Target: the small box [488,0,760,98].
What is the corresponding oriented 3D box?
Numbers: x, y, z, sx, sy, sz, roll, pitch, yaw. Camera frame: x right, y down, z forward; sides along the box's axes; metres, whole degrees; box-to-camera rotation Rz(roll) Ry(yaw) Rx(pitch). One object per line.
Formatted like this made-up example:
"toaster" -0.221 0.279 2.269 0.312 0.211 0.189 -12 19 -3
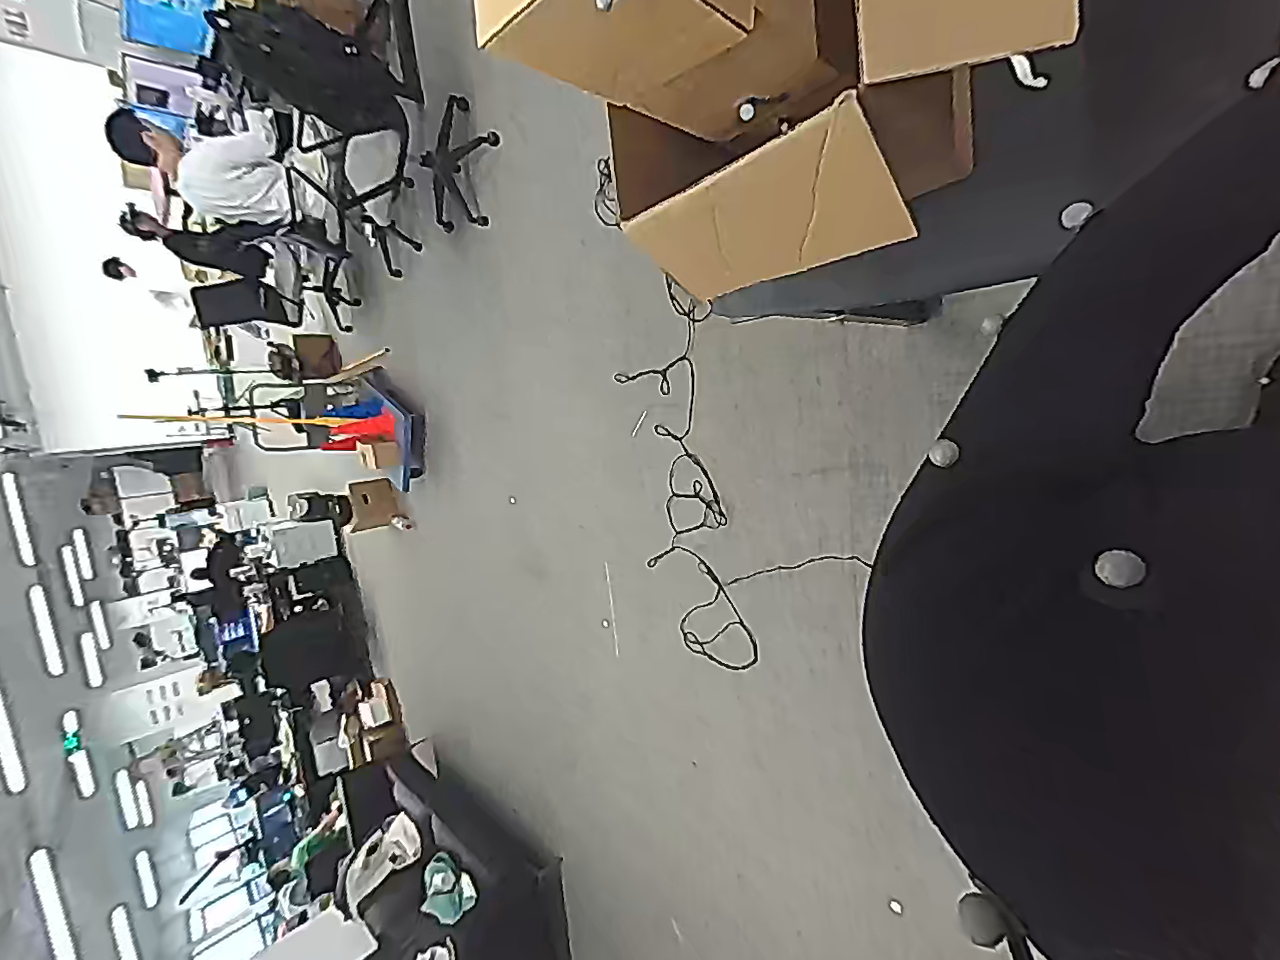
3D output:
"small box" -0.016 -0.462 0.456 0.179 0.176 0.168 10 107 45
